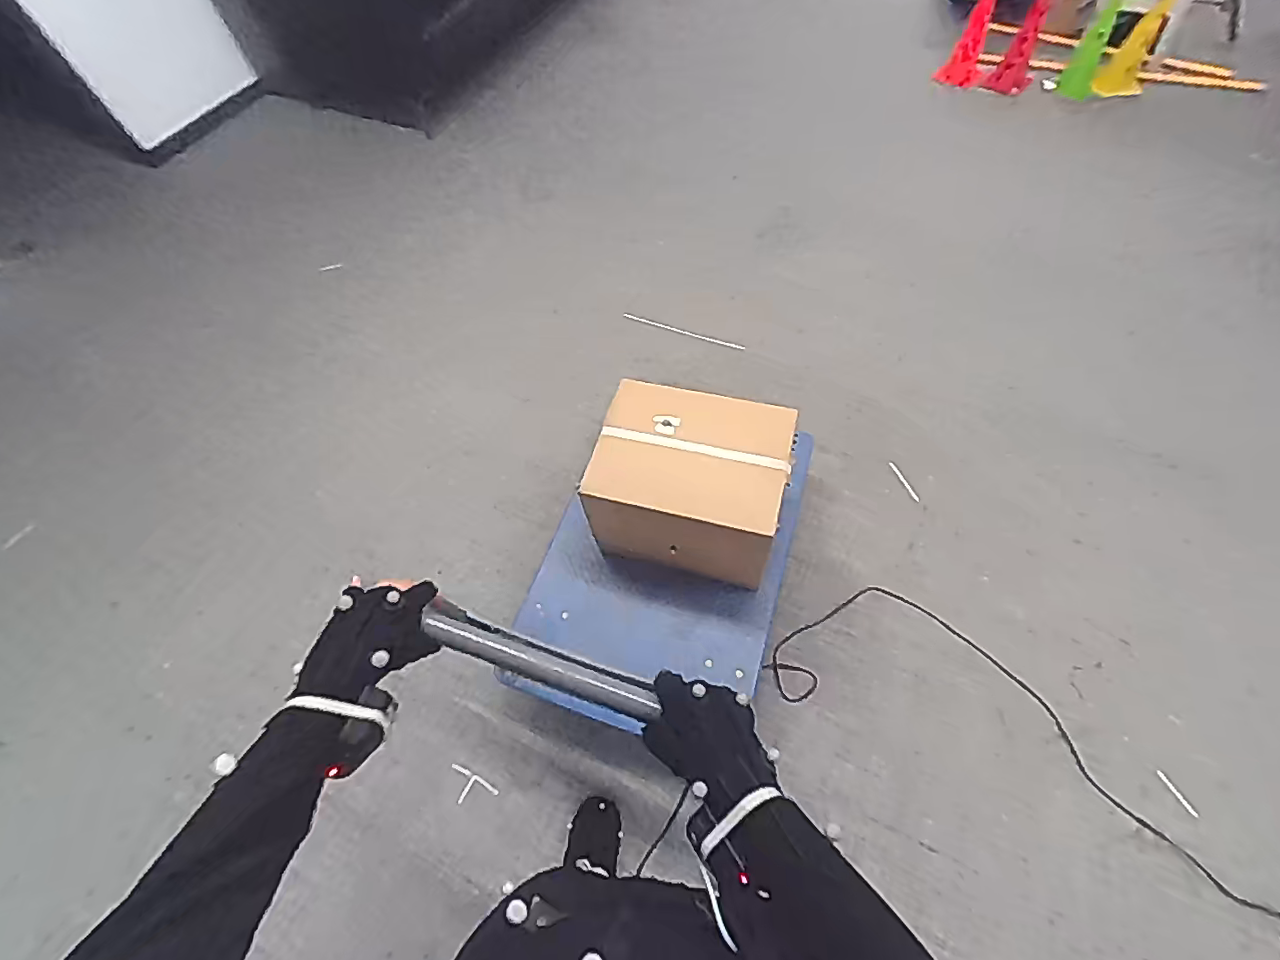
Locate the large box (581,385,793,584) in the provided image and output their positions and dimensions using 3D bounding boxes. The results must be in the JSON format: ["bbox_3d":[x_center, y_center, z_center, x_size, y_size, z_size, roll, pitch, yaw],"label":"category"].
[{"bbox_3d":[0.121,0.016,1.273,0.408,0.320,0.320,12,61,13],"label":"large box"}]
